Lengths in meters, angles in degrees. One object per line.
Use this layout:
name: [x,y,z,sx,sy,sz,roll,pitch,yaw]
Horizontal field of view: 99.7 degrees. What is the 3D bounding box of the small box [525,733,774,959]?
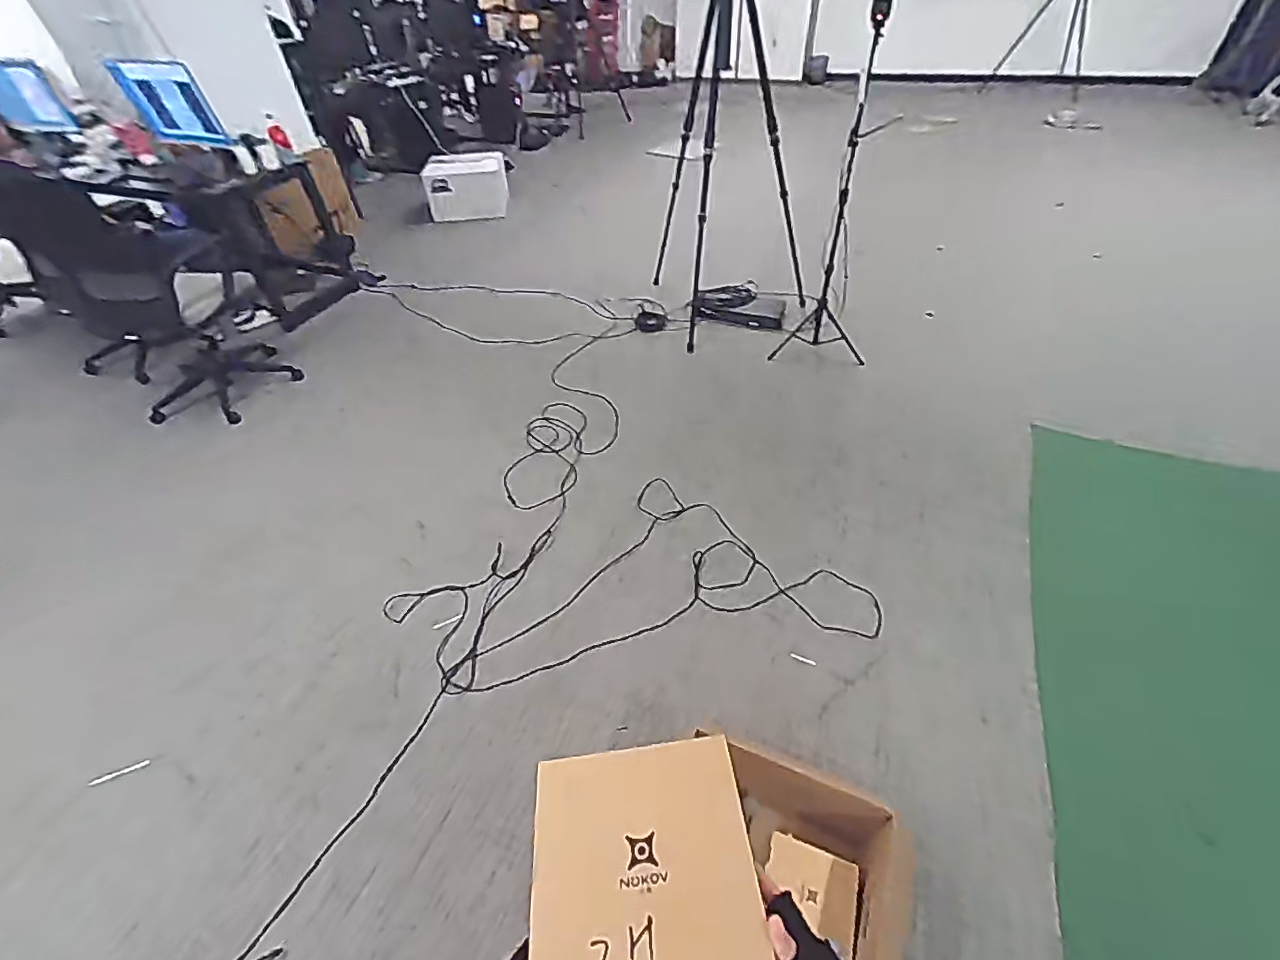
small box: [0.008,0.342,0.446,0.168,0.176,0.179,-8,39,0]
